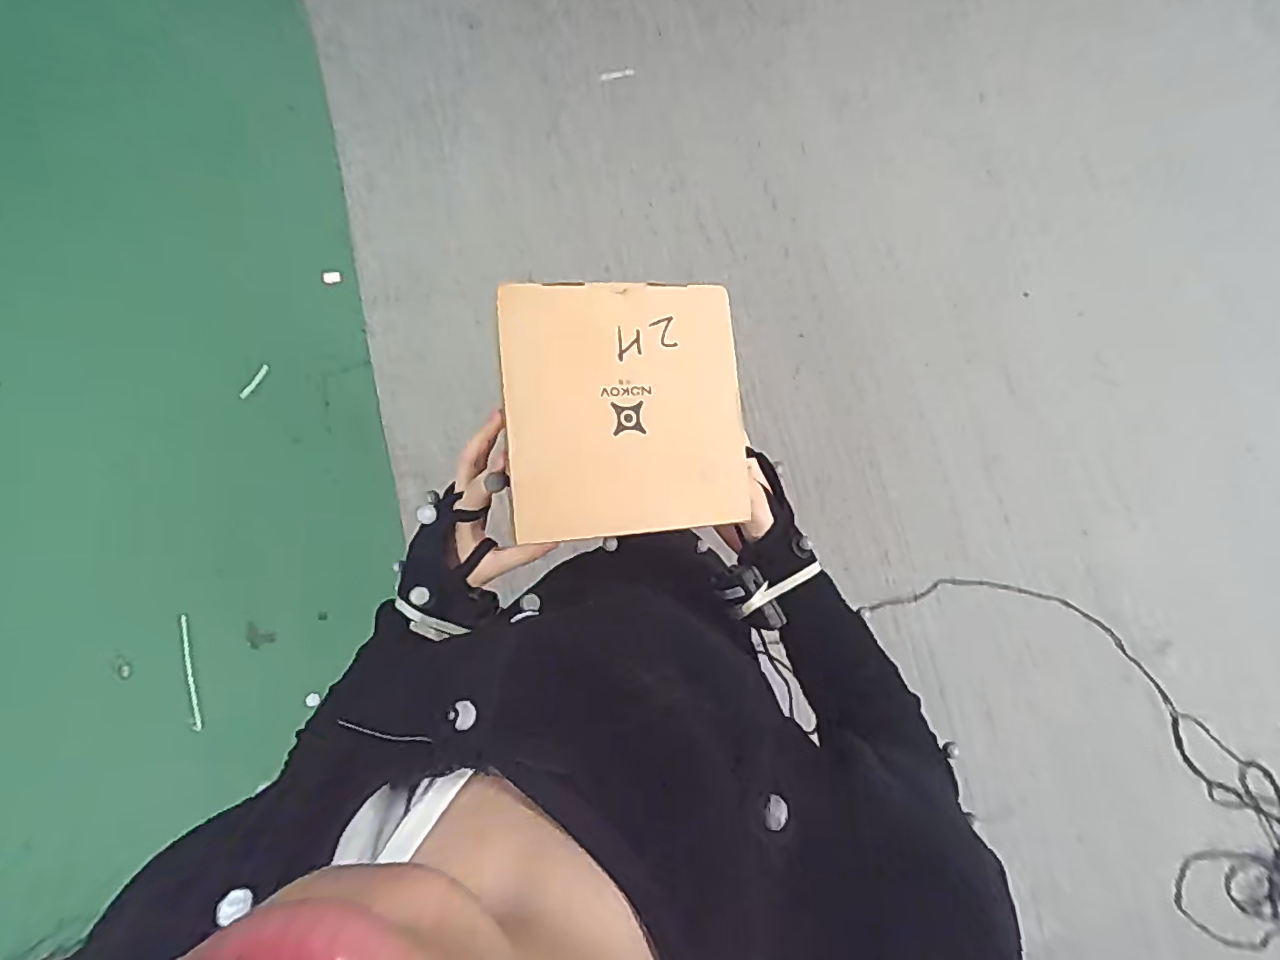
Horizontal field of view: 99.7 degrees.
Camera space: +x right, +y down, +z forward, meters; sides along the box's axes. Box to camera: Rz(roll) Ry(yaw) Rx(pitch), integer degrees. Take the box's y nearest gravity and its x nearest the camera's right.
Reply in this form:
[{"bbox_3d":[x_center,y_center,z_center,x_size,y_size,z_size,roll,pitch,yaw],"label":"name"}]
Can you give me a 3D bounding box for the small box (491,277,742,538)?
[{"bbox_3d":[-0.030,-0.050,0.451,0.168,0.176,0.179,-5,87,-14],"label":"small box"}]
